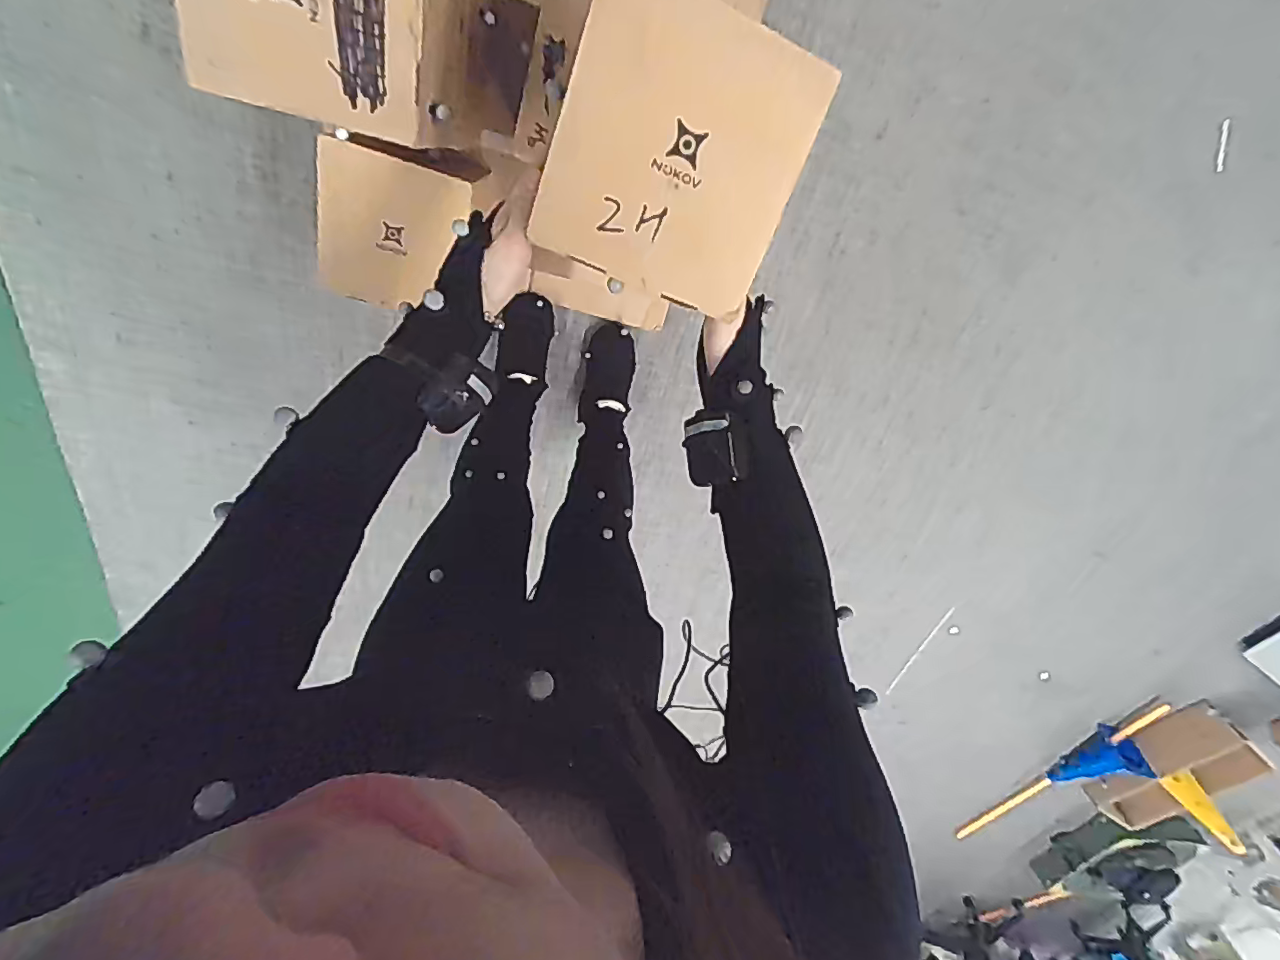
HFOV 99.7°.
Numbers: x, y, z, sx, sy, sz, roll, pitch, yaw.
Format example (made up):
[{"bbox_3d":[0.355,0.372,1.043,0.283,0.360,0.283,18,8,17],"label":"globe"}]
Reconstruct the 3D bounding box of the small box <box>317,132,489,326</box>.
[{"bbox_3d":[-0.300,-0.331,0.705,0.168,0.176,0.179,12,122,-14],"label":"small box"}]

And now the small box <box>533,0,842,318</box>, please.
[{"bbox_3d":[0.019,-0.254,0.436,0.168,0.176,0.179,18,110,-15],"label":"small box"}]

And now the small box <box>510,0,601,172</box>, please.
[{"bbox_3d":[-0.041,-0.448,0.653,0.179,0.176,0.168,16,120,-13],"label":"small box"}]
